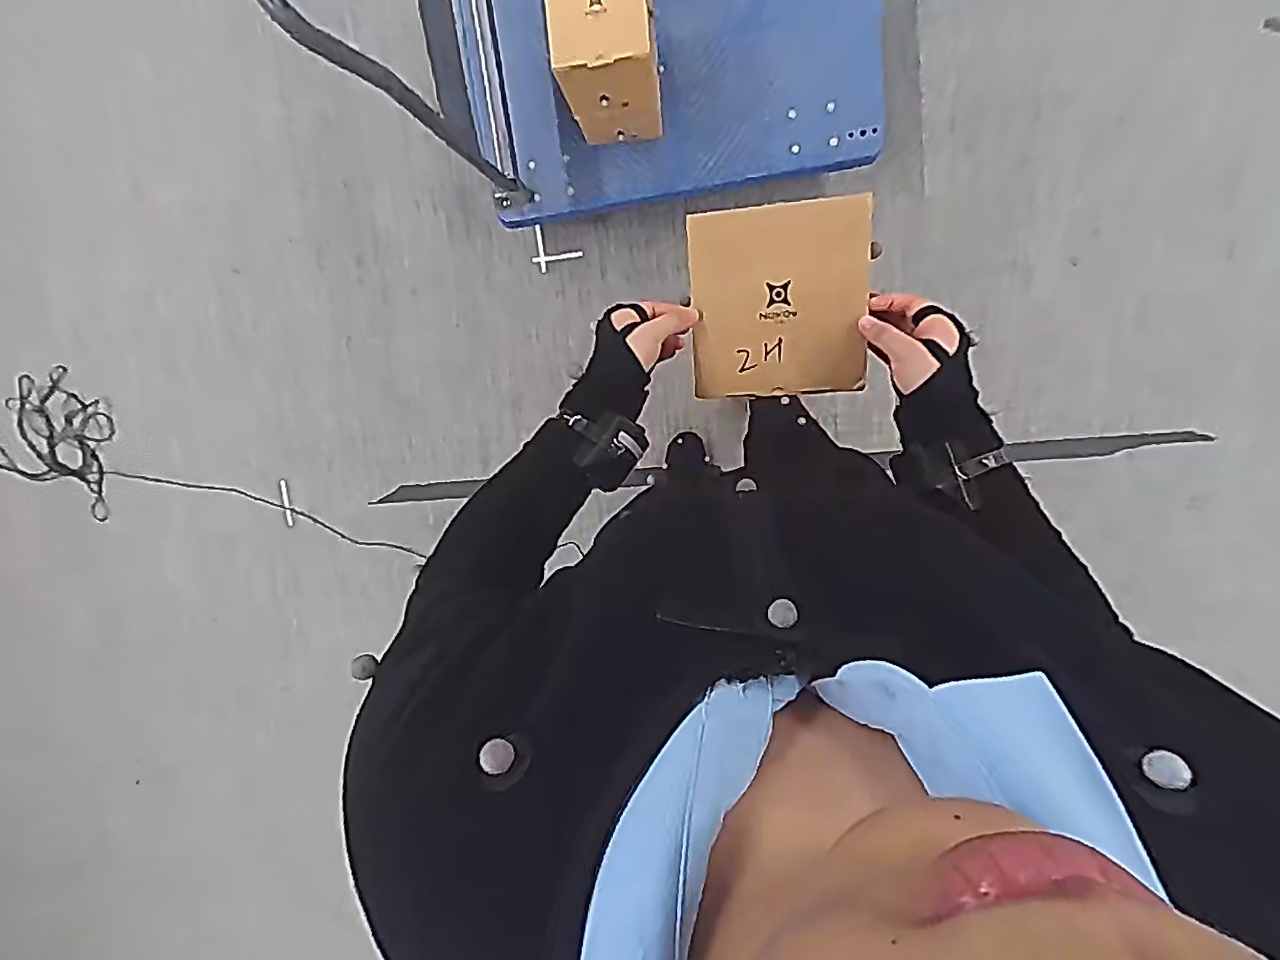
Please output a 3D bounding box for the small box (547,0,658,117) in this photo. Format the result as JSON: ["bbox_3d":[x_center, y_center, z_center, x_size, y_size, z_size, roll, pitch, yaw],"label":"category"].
[{"bbox_3d":[-0.060,-0.771,0.935,0.168,0.176,0.179,-4,100,7],"label":"small box"}]

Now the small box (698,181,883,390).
[{"bbox_3d":[0.152,-0.197,0.581,0.168,0.176,0.179,-1,106,12],"label":"small box"}]
